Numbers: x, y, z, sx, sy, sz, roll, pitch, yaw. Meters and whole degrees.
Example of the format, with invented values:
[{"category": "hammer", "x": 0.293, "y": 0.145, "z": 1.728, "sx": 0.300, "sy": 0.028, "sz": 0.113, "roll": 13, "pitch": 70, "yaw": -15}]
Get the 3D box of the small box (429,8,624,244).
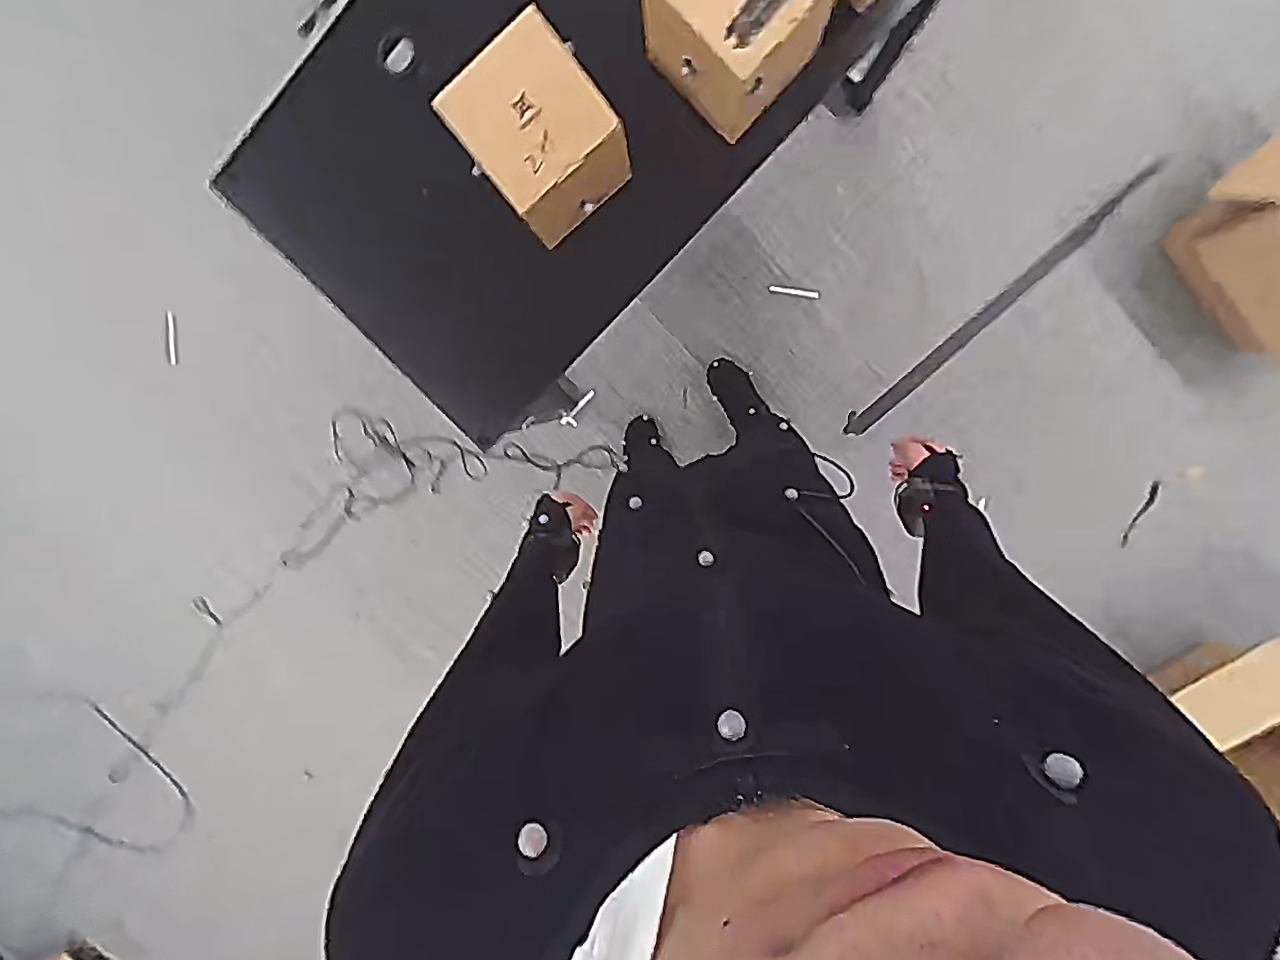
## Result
[{"category": "small box", "x": -0.140, "y": -0.459, "z": 0.738, "sx": 0.168, "sy": 0.176, "sz": 0.179, "roll": -39, "pitch": 95, "yaw": 9}]
